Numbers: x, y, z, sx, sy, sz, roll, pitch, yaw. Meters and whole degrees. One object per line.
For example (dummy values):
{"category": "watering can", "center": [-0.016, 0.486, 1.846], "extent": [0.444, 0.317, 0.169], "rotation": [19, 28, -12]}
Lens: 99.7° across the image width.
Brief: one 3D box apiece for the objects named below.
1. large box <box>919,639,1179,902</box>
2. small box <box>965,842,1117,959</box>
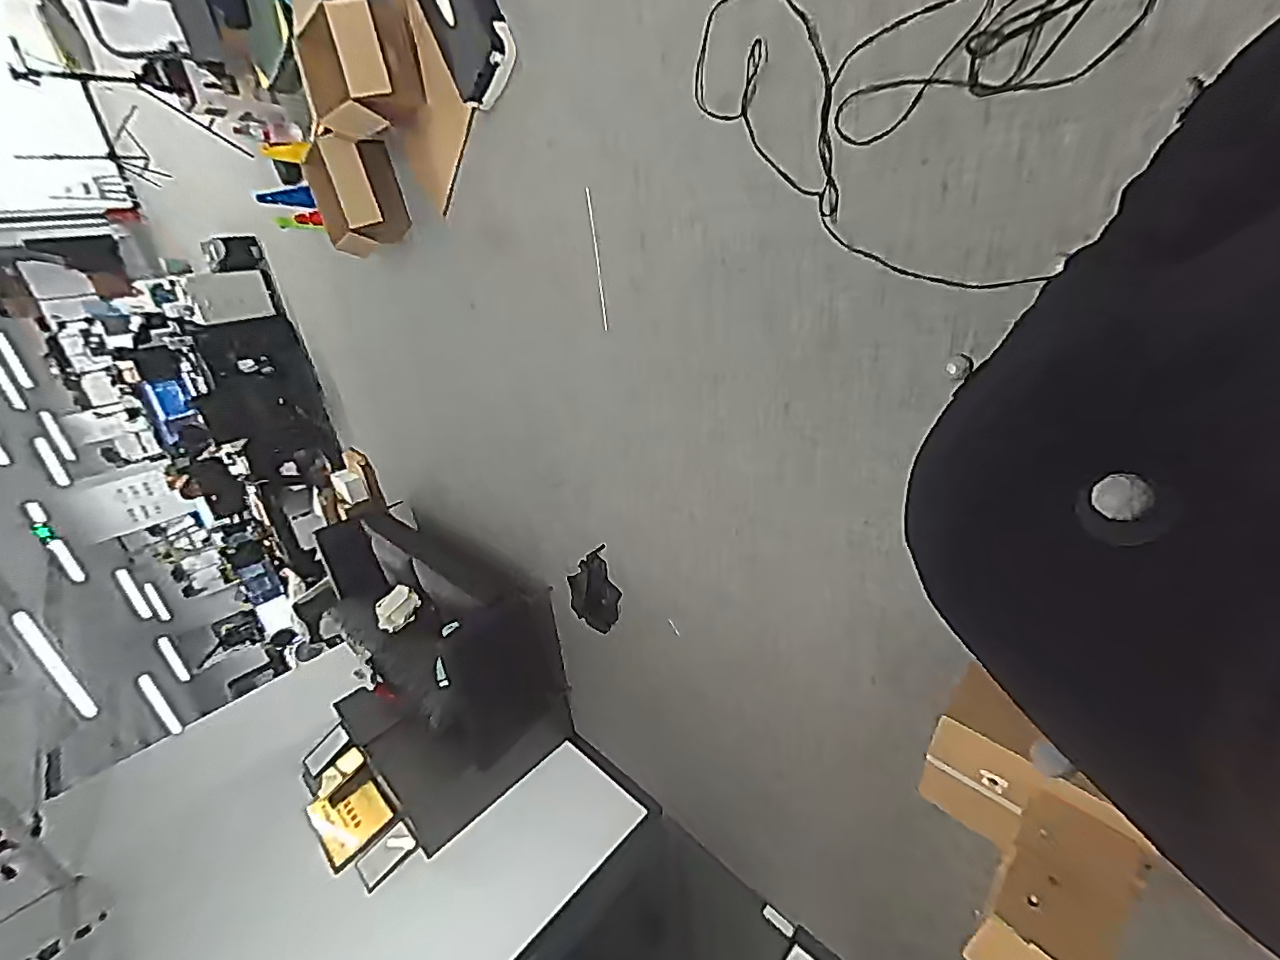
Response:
{"category": "large box", "center": [0.968, 0.667, 1.308], "extent": [0.408, 0.320, 0.320], "rotation": [24, 128, 40]}
{"category": "small box", "center": [0.740, 0.825, 0.998], "extent": [0.168, 0.176, 0.179], "rotation": [28, 132, 39]}
